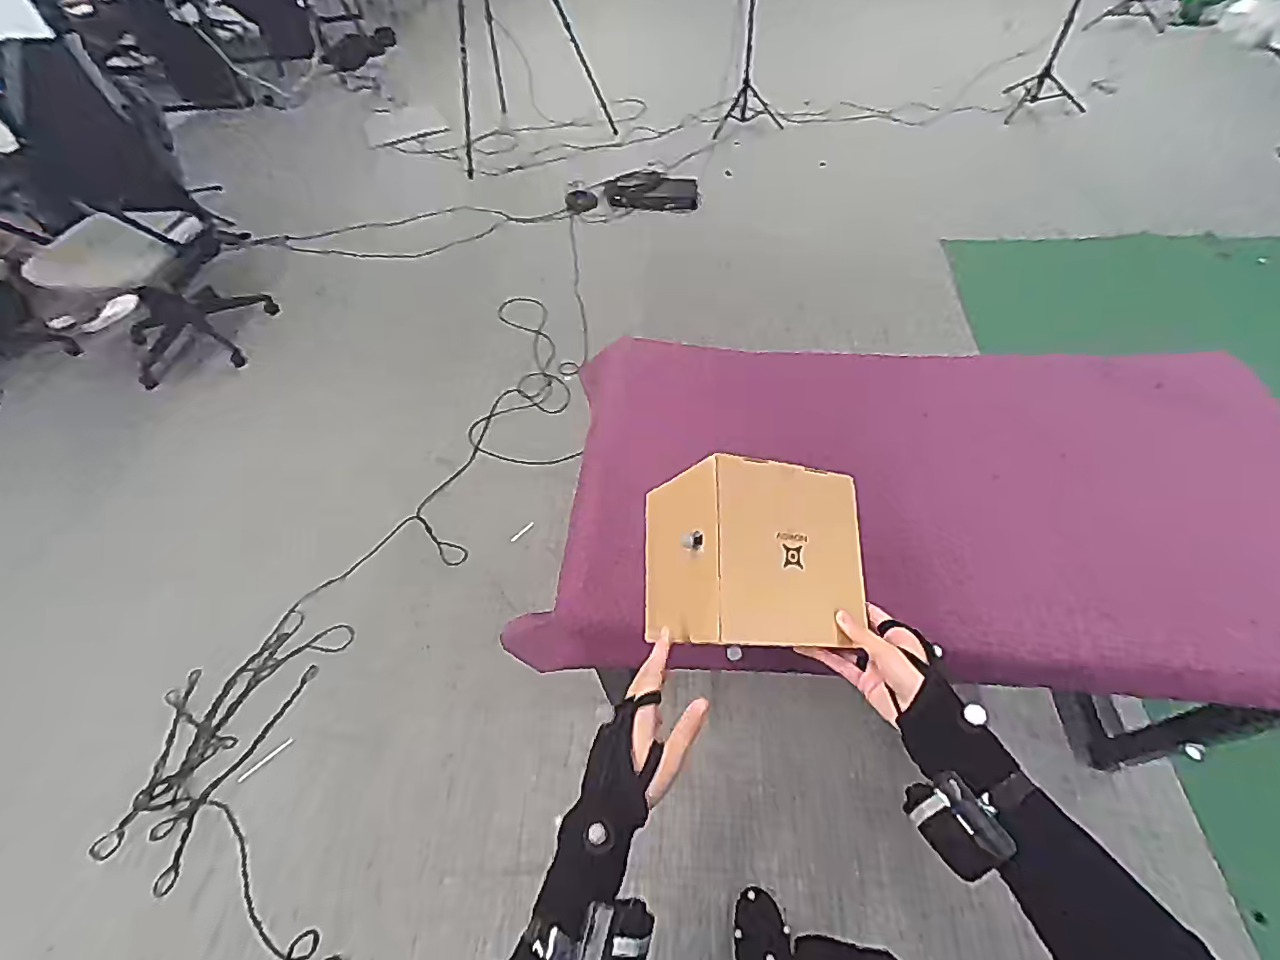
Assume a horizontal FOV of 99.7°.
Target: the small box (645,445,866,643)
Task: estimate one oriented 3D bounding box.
[{"bbox_3d":[0.112,0.082,0.584,0.168,0.176,0.179,9,70,-21],"label":"small box"}]
